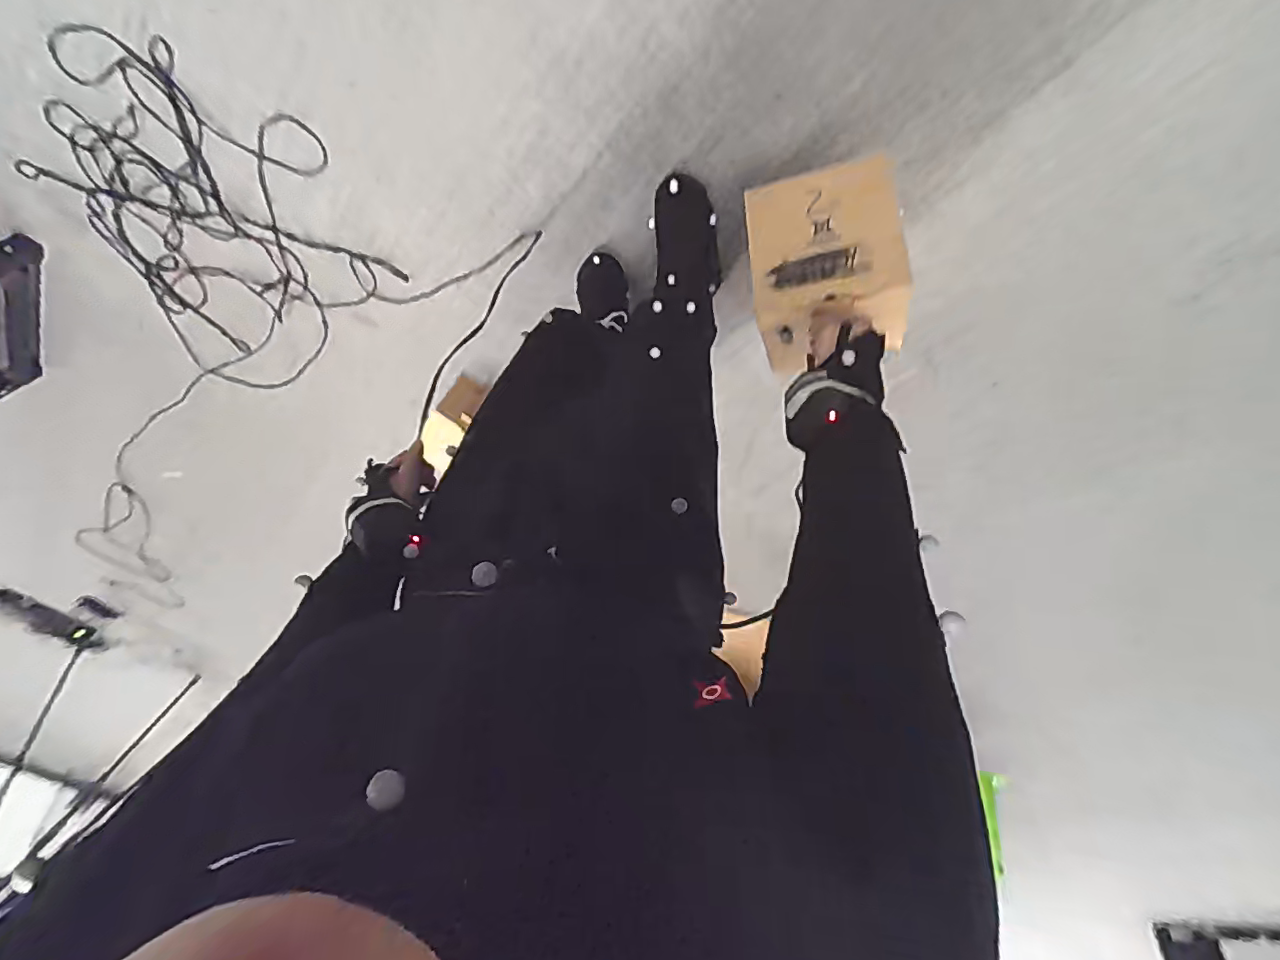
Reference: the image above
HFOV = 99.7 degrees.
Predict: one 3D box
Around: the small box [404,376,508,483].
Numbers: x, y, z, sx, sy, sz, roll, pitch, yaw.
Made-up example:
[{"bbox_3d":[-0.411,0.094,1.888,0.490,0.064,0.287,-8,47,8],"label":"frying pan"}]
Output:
[{"bbox_3d":[-0.466,-0.131,1.390,0.168,0.176,0.179,36,129,-18],"label":"small box"}]
